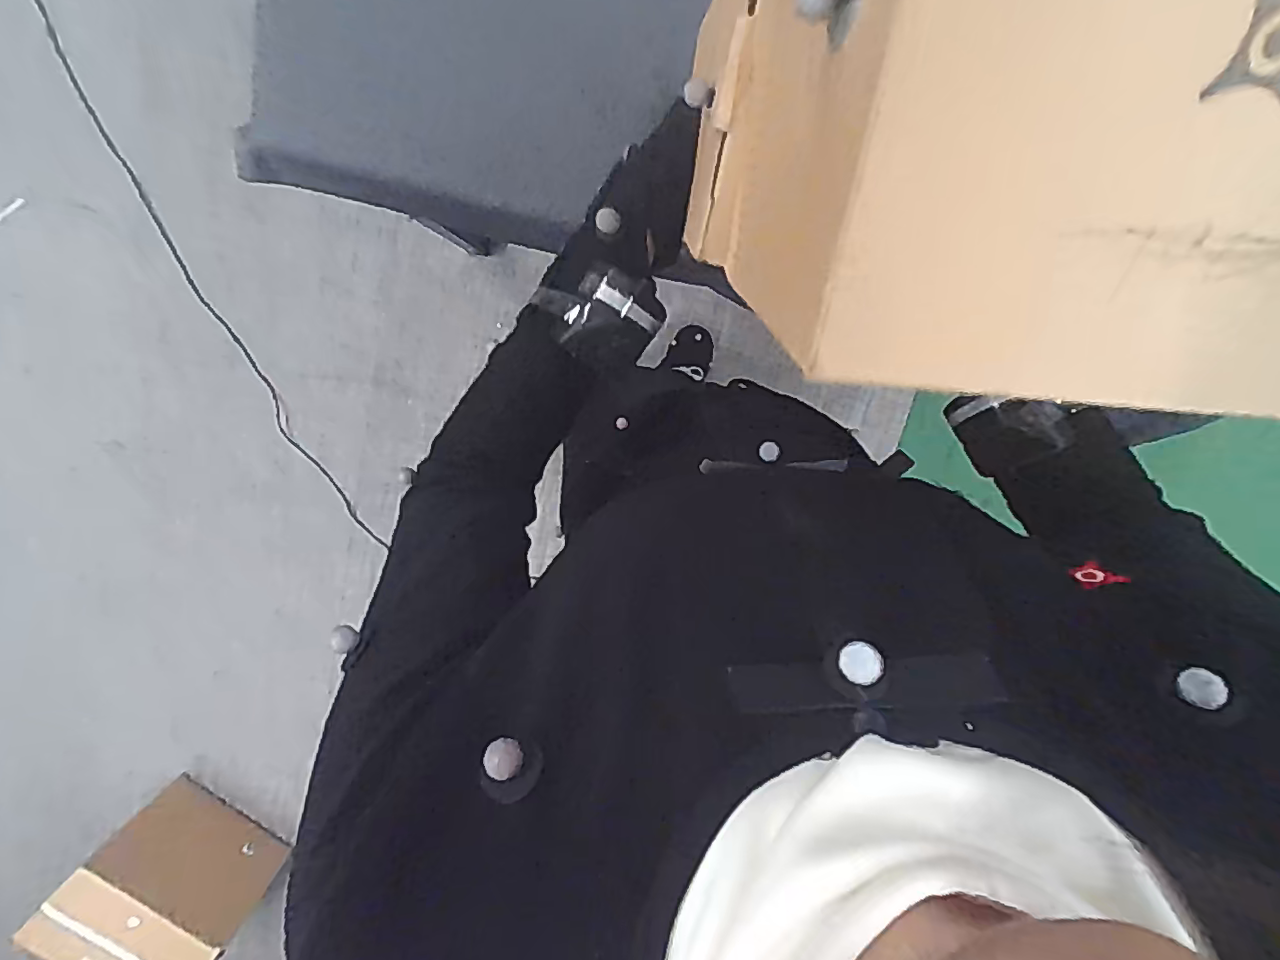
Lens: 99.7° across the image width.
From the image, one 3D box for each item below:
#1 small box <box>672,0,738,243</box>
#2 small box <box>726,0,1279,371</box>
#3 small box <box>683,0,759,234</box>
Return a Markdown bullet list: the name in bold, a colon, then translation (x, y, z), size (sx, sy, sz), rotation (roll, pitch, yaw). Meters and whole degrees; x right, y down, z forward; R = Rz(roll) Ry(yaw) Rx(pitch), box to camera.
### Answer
- **small box**: translation (0.123, -0.304, 0.472), size (0.168, 0.176, 0.179), rotation (7, 118, -5)
- **small box**: translation (0.131, -0.152, 0.183), size (0.168, 0.176, 0.179), rotation (5, 120, -3)
- **small box**: translation (0.127, -0.231, 0.328), size (0.179, 0.176, 0.168), rotation (6, 117, -5)
